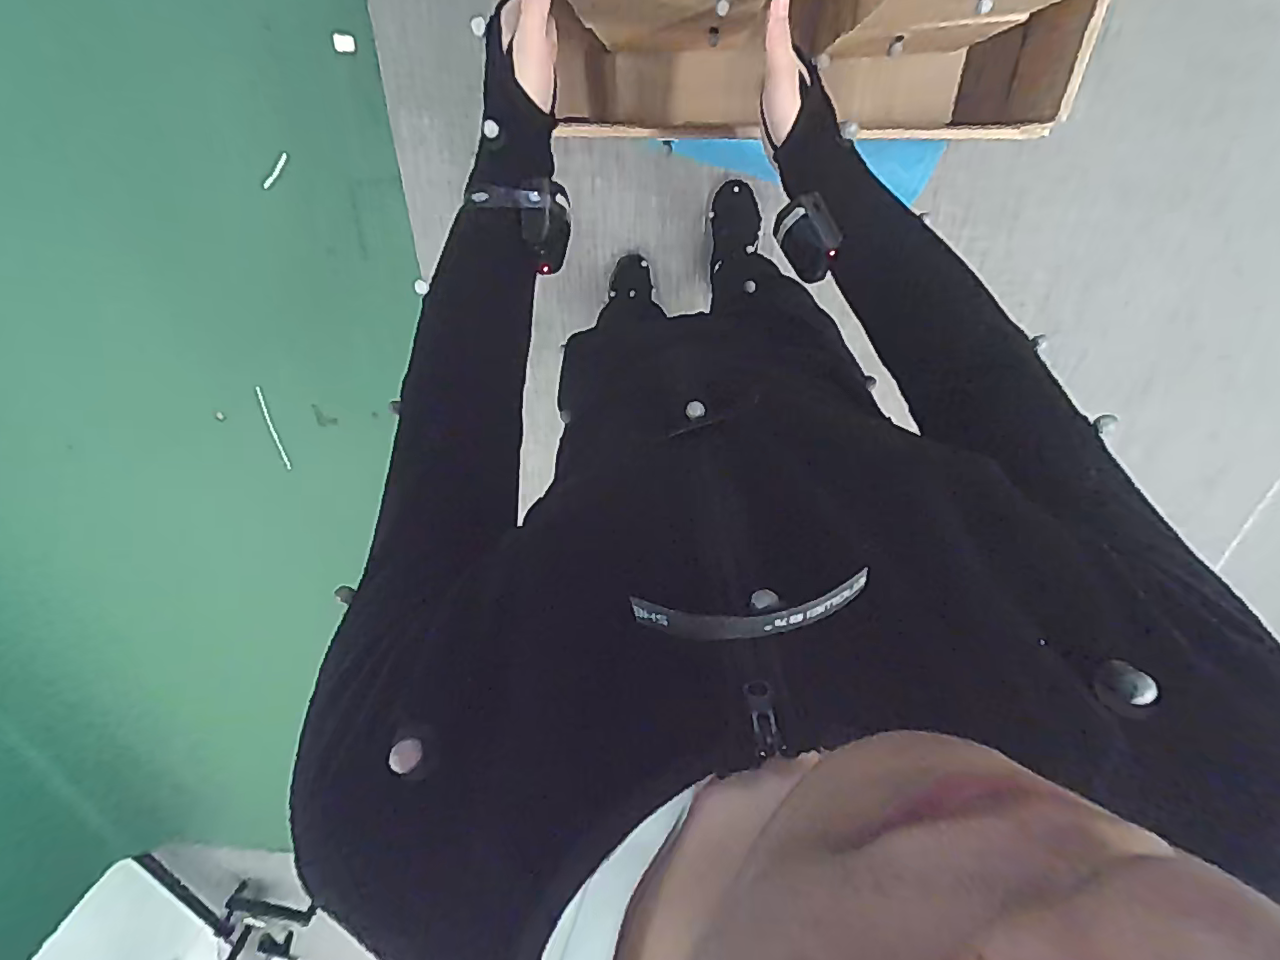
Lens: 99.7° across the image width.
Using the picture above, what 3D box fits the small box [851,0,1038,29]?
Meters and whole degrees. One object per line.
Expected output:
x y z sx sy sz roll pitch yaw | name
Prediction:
0.274 -0.476 0.417 0.179 0.176 0.168 0 121 8 | small box
